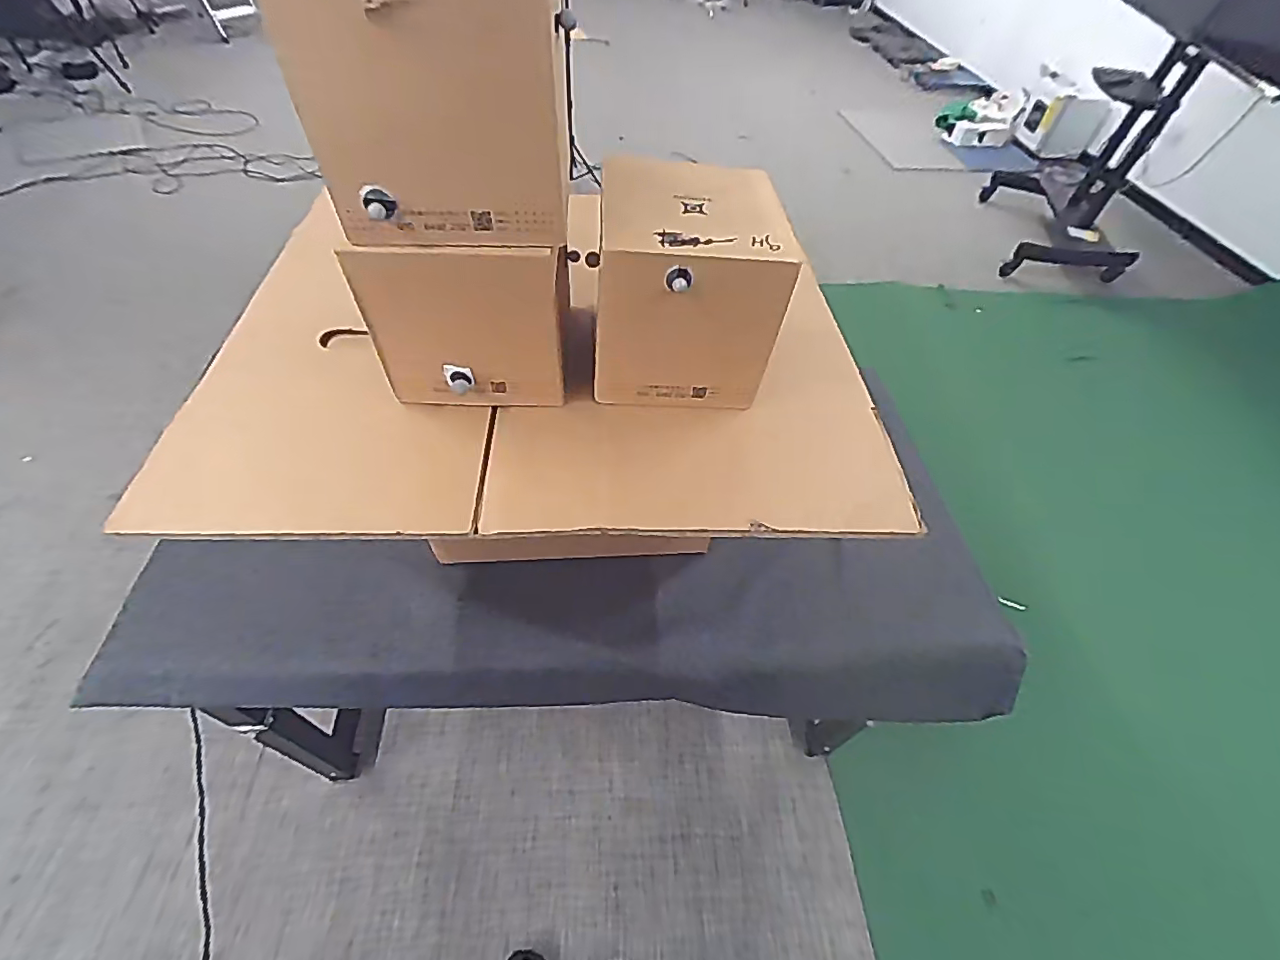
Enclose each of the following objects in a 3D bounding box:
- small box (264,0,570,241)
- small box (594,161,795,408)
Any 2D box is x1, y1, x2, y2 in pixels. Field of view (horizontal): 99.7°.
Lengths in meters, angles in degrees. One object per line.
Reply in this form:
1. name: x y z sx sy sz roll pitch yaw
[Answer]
1. small box: -0.142 -0.303 0.418 0.168 0.176 0.179 -1 51 -4
2. small box: 0.039 -0.198 0.557 0.168 0.176 0.179 2 51 -5
